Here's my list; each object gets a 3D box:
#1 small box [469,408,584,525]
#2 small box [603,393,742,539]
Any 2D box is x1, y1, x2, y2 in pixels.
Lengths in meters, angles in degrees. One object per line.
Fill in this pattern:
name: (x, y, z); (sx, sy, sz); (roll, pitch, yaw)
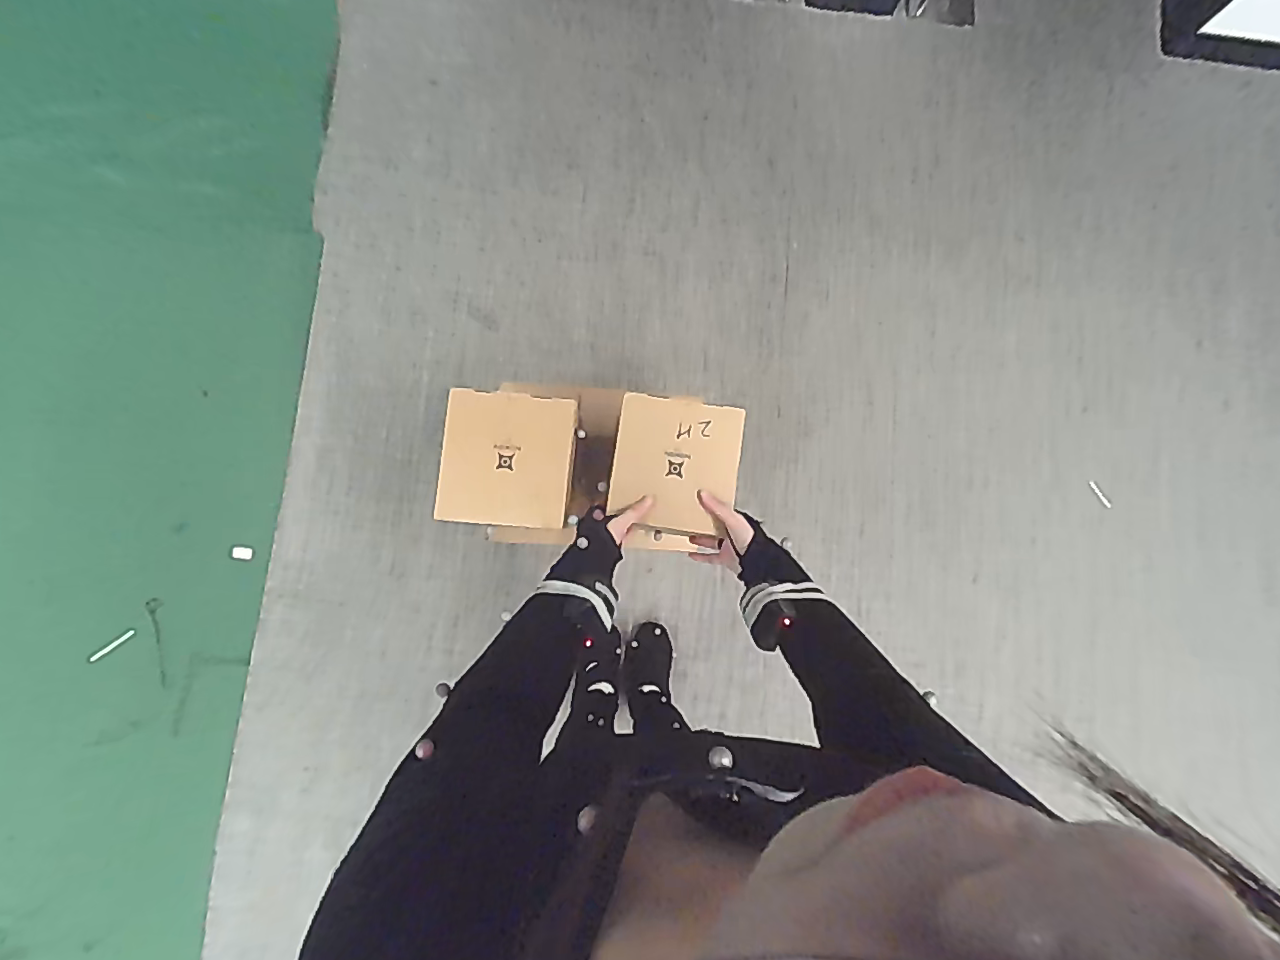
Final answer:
small box: (-0.191, -0.016, 0.955); (0.168, 0.176, 0.179); (6, 85, -4)
small box: (0.043, -0.011, 0.800); (0.168, 0.176, 0.179); (9, 83, -1)
